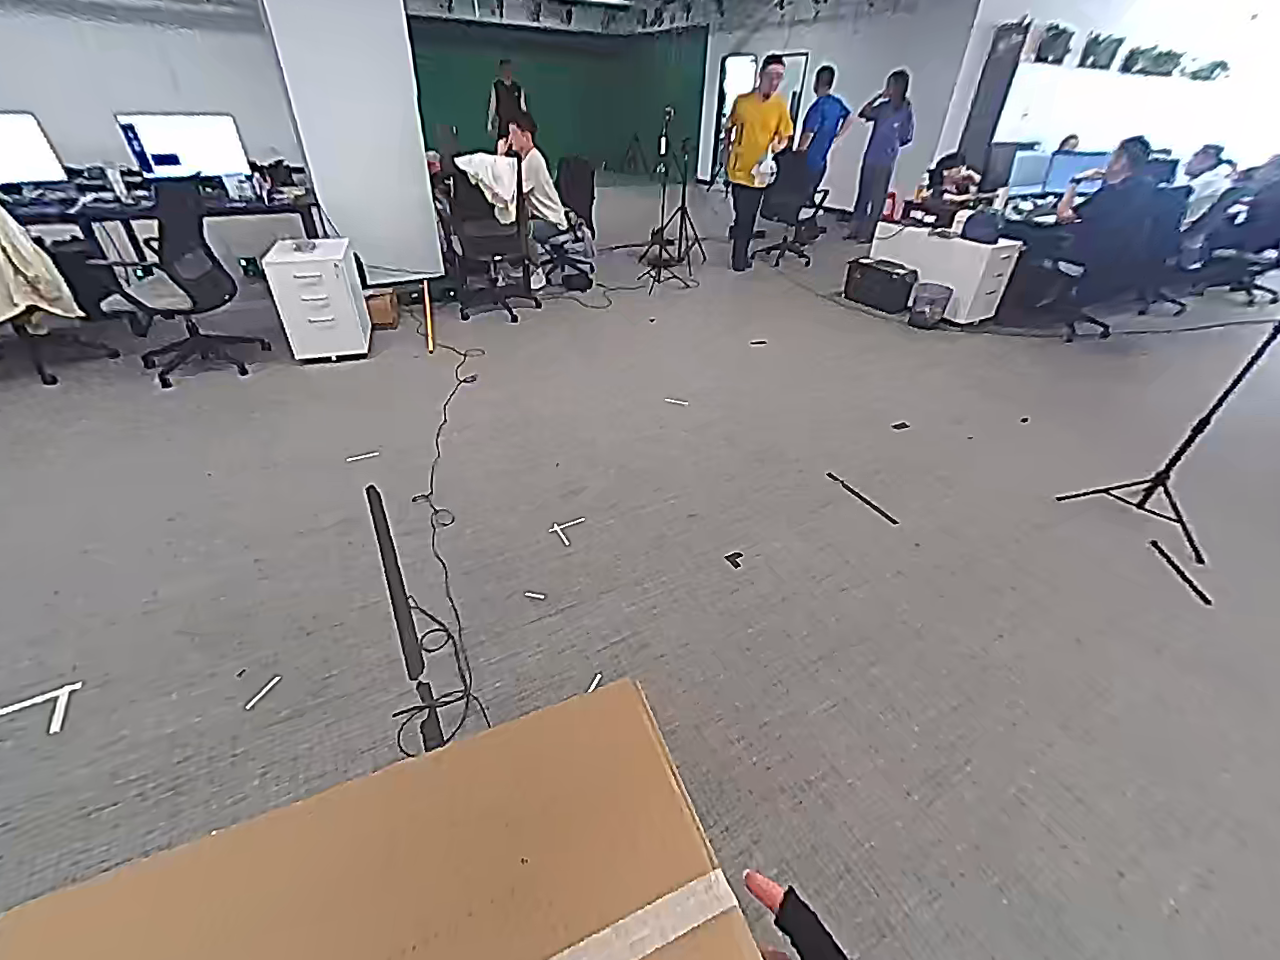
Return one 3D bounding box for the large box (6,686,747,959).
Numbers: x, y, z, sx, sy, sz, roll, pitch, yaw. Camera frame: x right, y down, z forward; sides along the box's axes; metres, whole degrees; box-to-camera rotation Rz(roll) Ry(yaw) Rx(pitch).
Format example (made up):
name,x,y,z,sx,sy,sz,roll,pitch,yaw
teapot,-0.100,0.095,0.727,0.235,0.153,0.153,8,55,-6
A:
name,x,y,z,sx,sy,sz,roll,pitch,yaw
large box,-0.137,0.422,0.387,0.408,0.320,0.320,-14,43,-19
